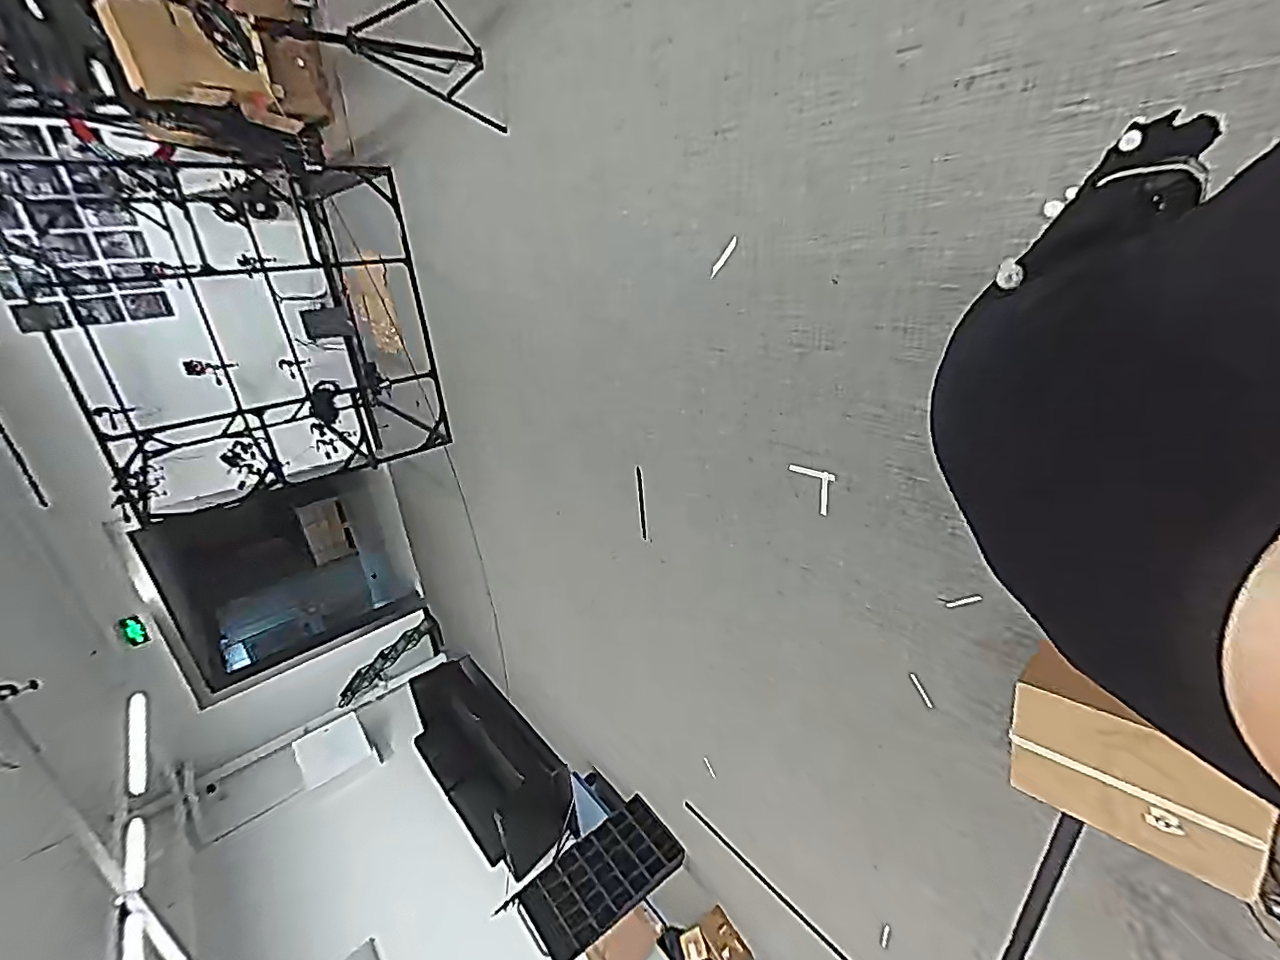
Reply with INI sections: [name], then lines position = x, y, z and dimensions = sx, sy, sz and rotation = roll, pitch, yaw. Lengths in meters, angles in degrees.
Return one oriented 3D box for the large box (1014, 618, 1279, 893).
[large box]
position = 1.114, 0.558, 1.197
dimensions = 0.408, 0.320, 0.320
rotation = 12, 117, 49
